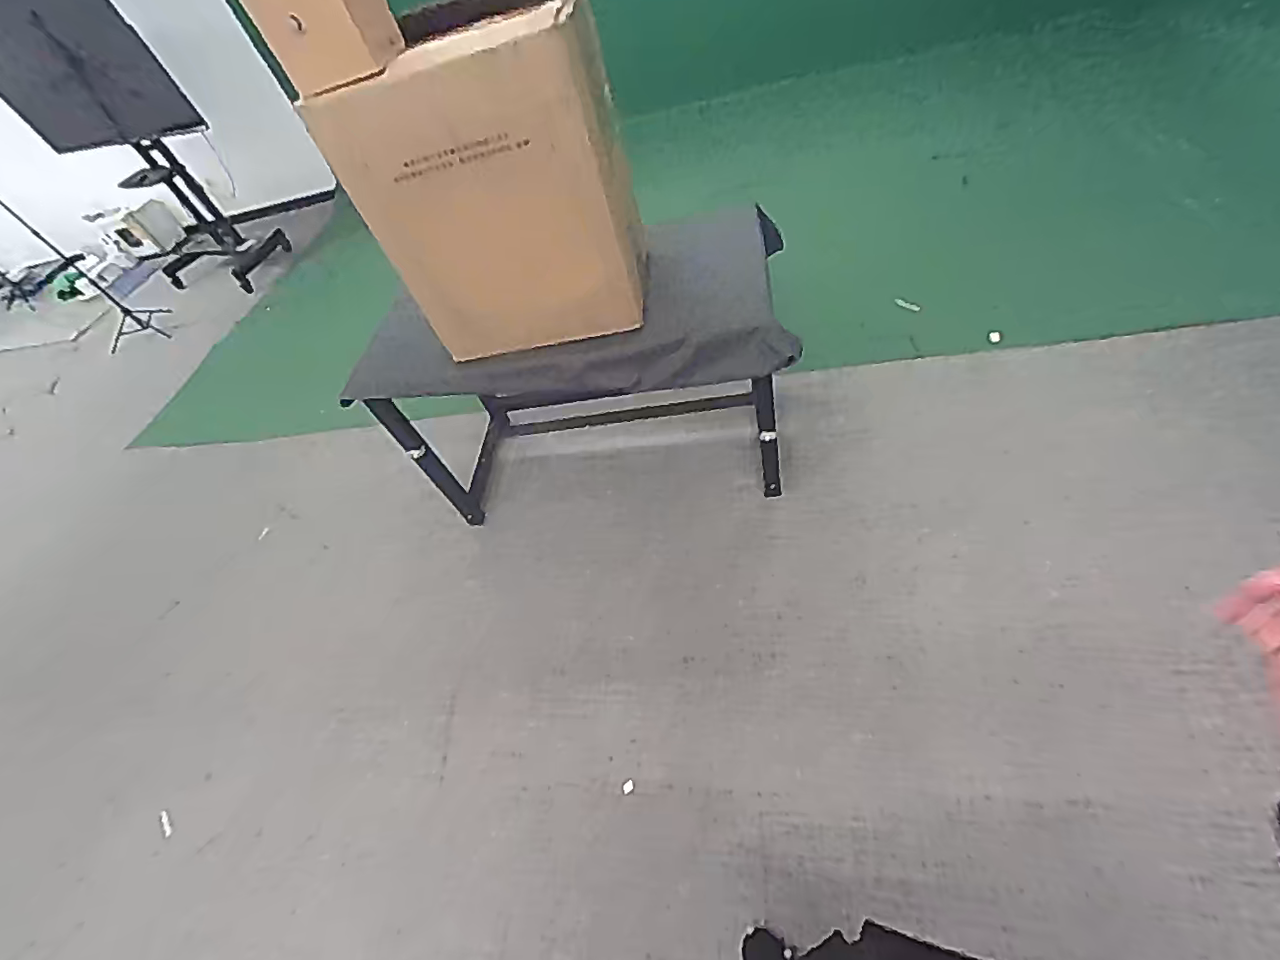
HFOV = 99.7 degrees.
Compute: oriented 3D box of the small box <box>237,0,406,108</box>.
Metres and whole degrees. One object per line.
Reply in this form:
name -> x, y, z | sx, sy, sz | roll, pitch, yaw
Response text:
small box -> -0.579, -0.832, 1.007 | 0.179, 0.176, 0.168 | -9, 51, 14
